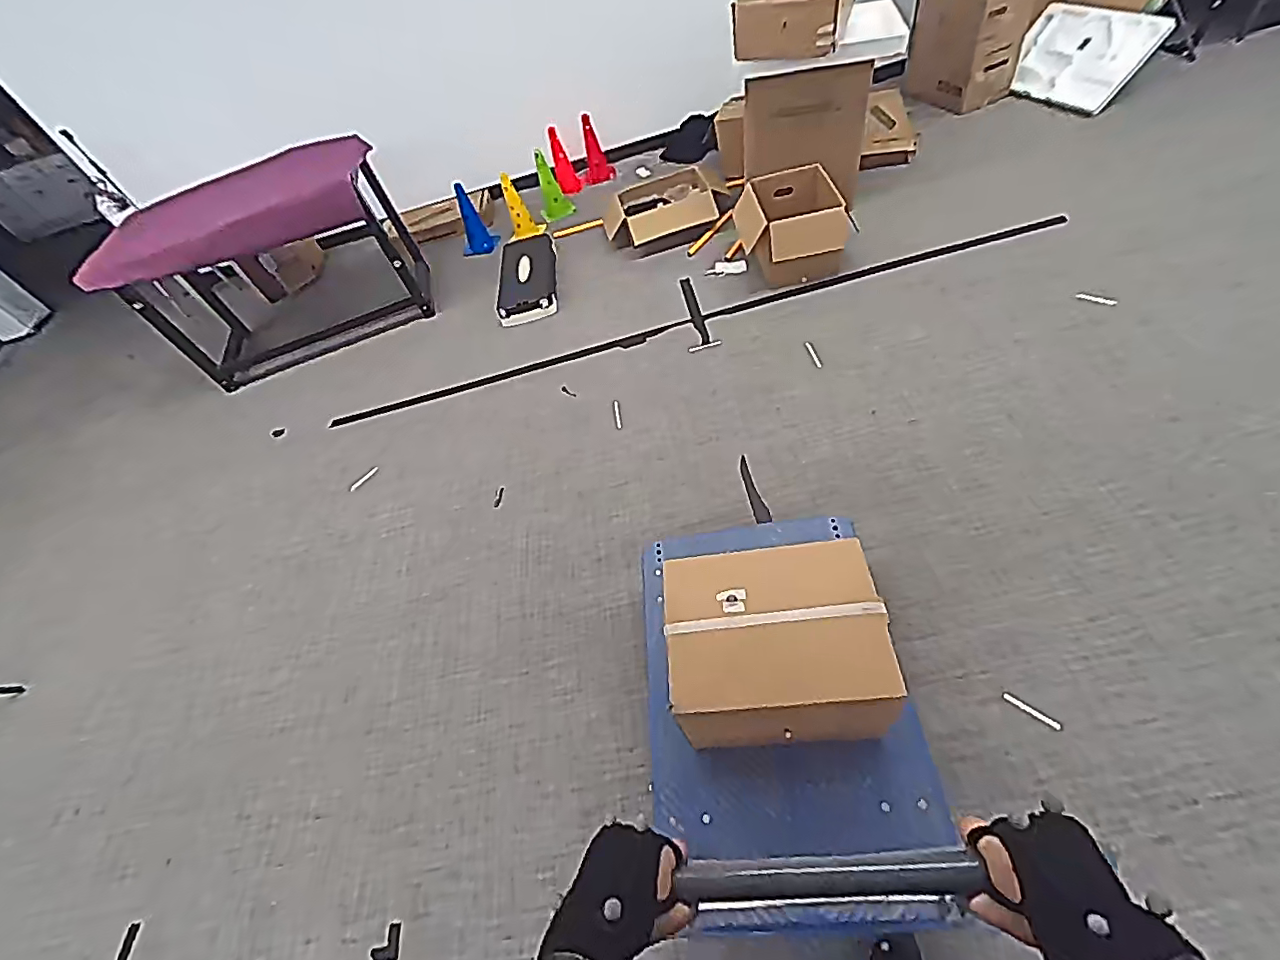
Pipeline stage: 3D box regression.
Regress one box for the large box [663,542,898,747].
[{"bbox_3d":[0.282,0.367,1.164,0.408,0.320,0.320,-9,51,10],"label":"large box"}]
